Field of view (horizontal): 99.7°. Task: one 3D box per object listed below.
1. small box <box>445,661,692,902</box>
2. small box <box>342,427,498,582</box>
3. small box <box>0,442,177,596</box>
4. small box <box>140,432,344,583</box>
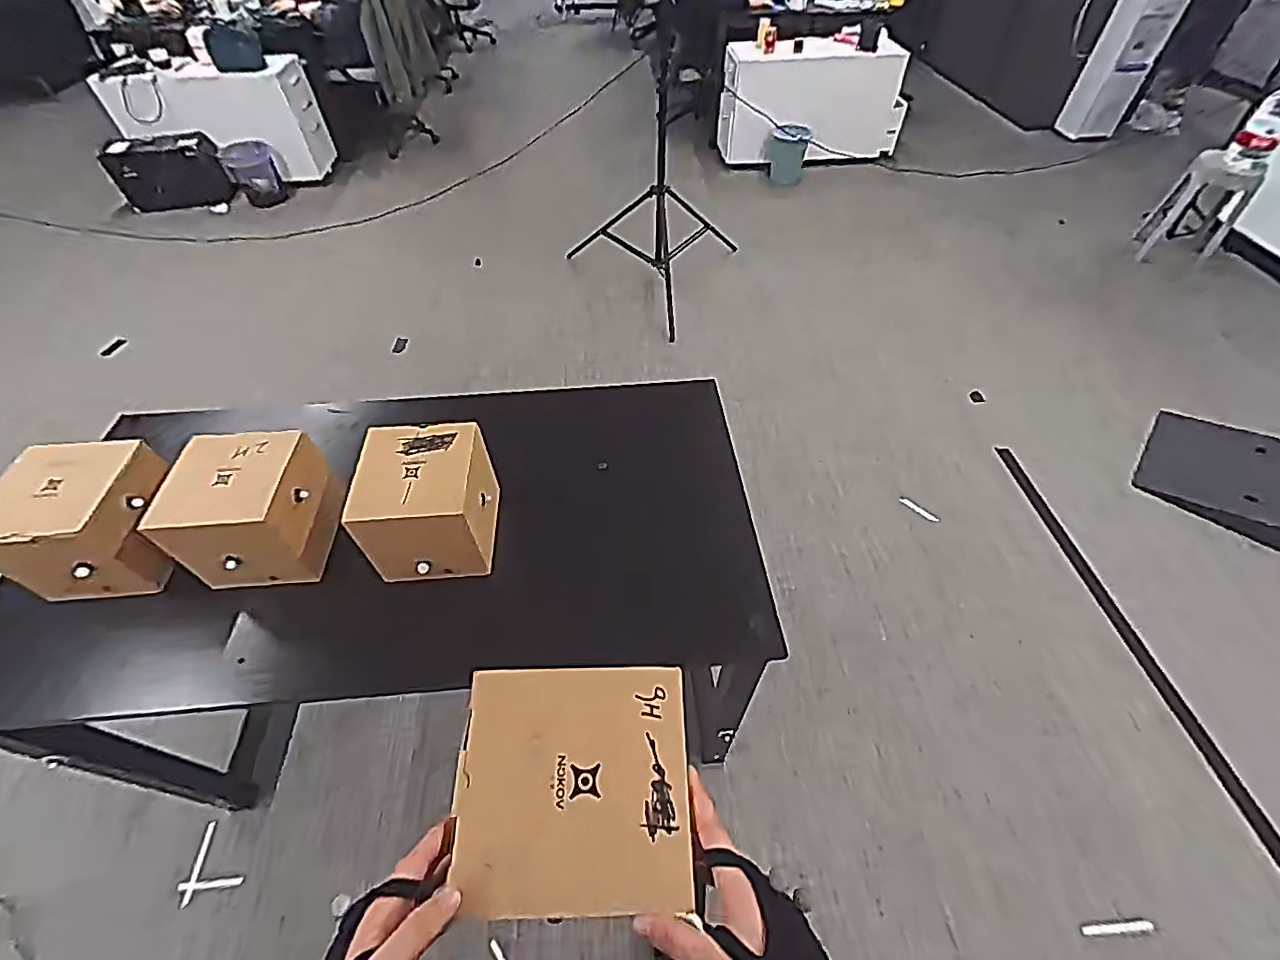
[{"bbox_3d":[-0.051,0.266,0.484,0.179,0.176,0.168,0,59,-1],"label":"small box"},{"bbox_3d":[-0.323,0.039,0.839,0.168,0.176,0.179,-4,51,-2],"label":"small box"},{"bbox_3d":[-0.827,0.065,0.823,0.168,0.176,0.179,-4,49,-4],"label":"small box"},{"bbox_3d":[-0.588,0.049,0.833,0.168,0.176,0.179,-3,50,-3],"label":"small box"}]
